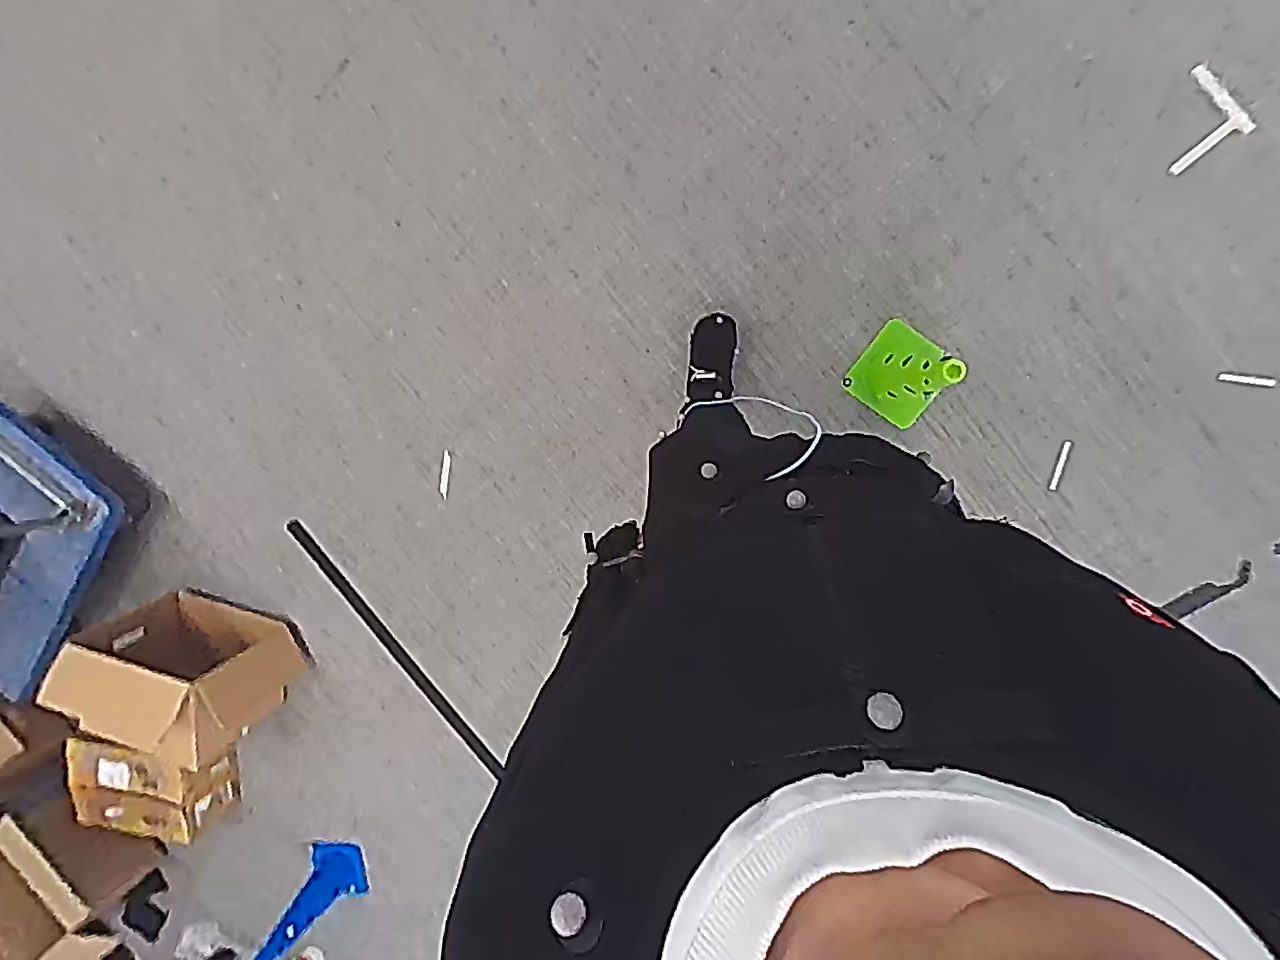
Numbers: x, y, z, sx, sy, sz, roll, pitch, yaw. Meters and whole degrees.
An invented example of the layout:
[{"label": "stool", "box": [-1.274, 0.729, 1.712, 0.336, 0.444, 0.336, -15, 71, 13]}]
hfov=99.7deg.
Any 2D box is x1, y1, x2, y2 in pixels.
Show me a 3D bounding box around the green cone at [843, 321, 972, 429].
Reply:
[{"label": "green cone", "box": [0.596, -0.223, 1.130, 0.200, 0.368, 0.202, 35, 103, 2]}]
